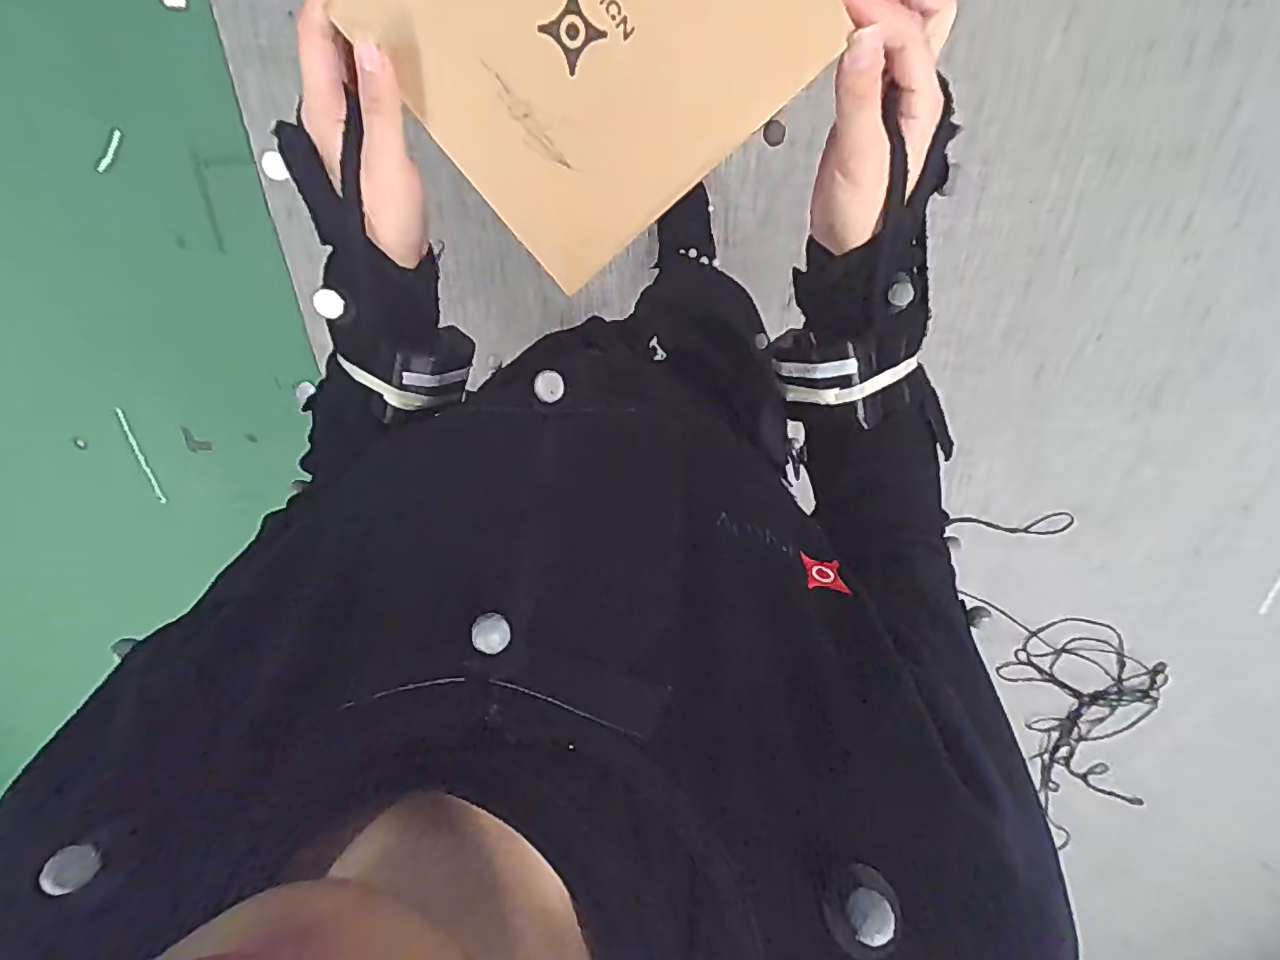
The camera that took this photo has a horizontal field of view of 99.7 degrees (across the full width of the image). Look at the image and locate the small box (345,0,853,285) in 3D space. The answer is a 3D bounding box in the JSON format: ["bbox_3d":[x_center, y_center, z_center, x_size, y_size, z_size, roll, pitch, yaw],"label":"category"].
[{"bbox_3d":[-0.012,-0.248,0.306,0.179,0.176,0.168,-32,111,28],"label":"small box"}]
